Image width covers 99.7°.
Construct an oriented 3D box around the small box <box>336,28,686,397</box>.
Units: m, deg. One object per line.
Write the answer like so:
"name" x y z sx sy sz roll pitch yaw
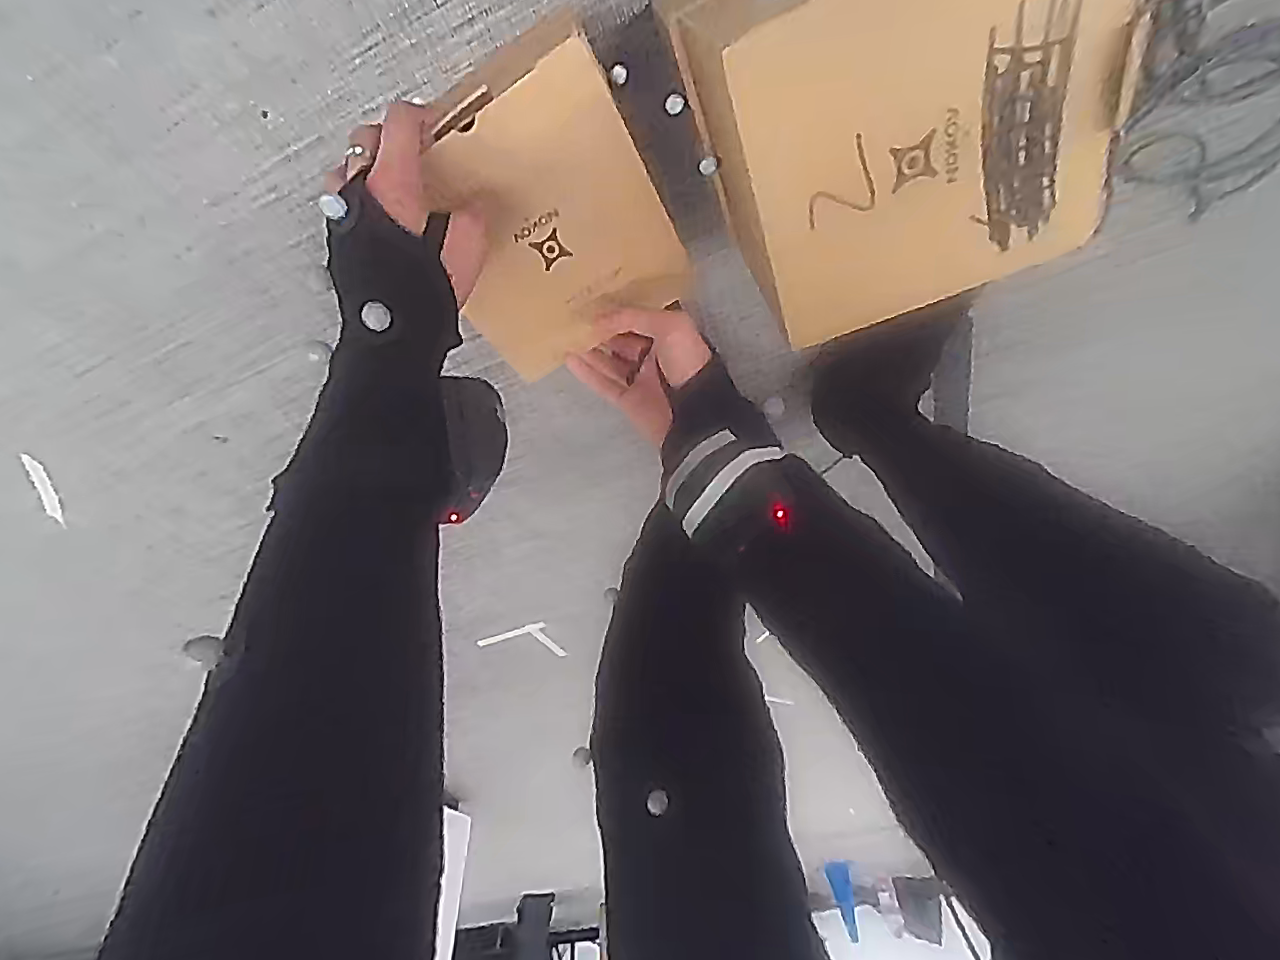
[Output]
"small box" -0.087 -0.205 0.417 0.168 0.176 0.179 -26 135 15
